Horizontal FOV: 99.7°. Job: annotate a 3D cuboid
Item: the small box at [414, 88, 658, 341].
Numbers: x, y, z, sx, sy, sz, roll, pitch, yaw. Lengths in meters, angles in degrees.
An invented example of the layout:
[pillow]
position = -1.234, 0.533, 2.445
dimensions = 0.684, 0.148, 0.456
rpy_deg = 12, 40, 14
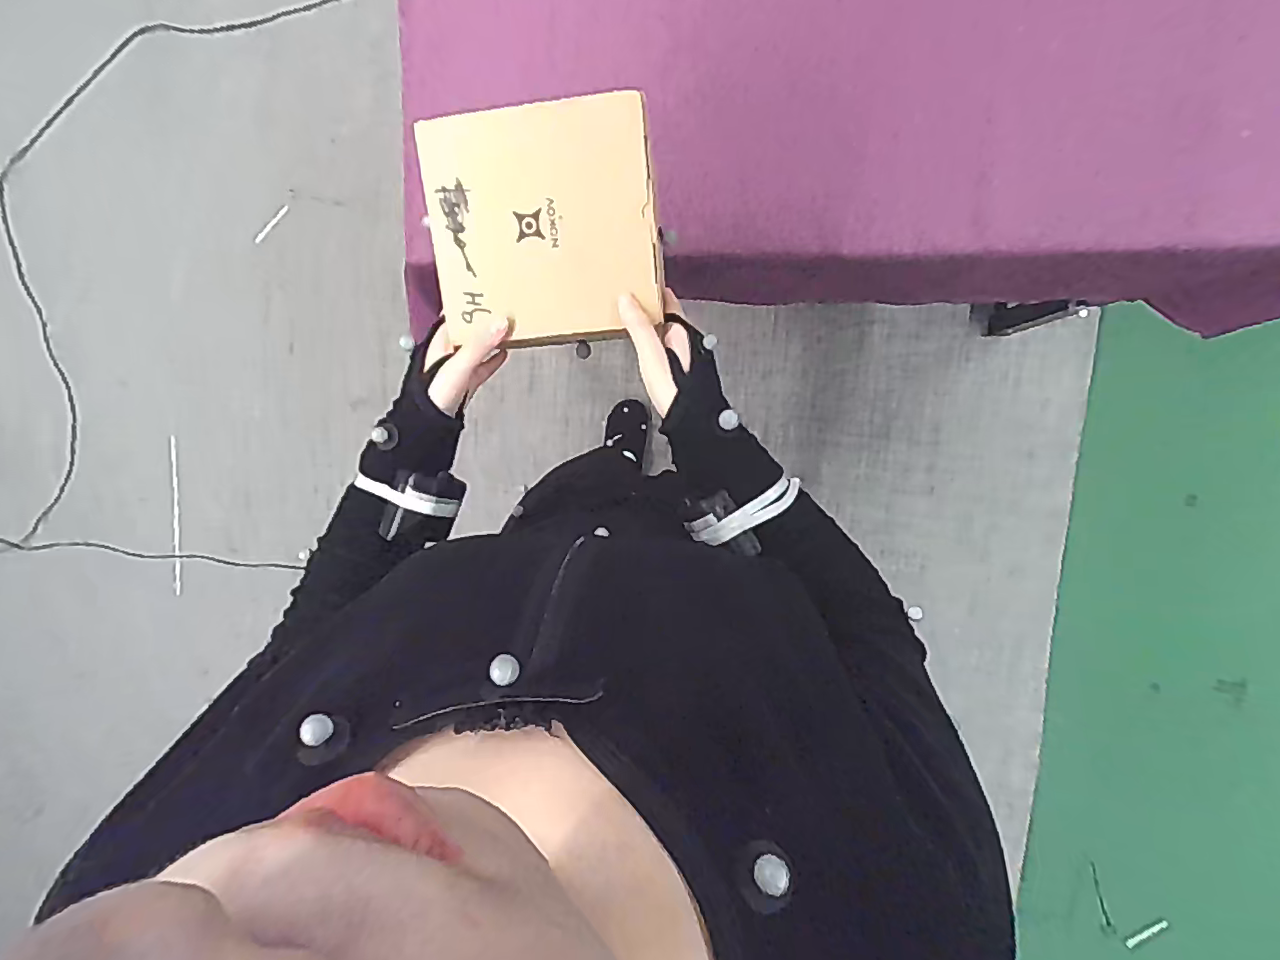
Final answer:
[small box]
position = -0.074, -0.218, 0.491
dimensions = 0.179, 0.176, 0.168
rpy_deg = -3, 101, 5
